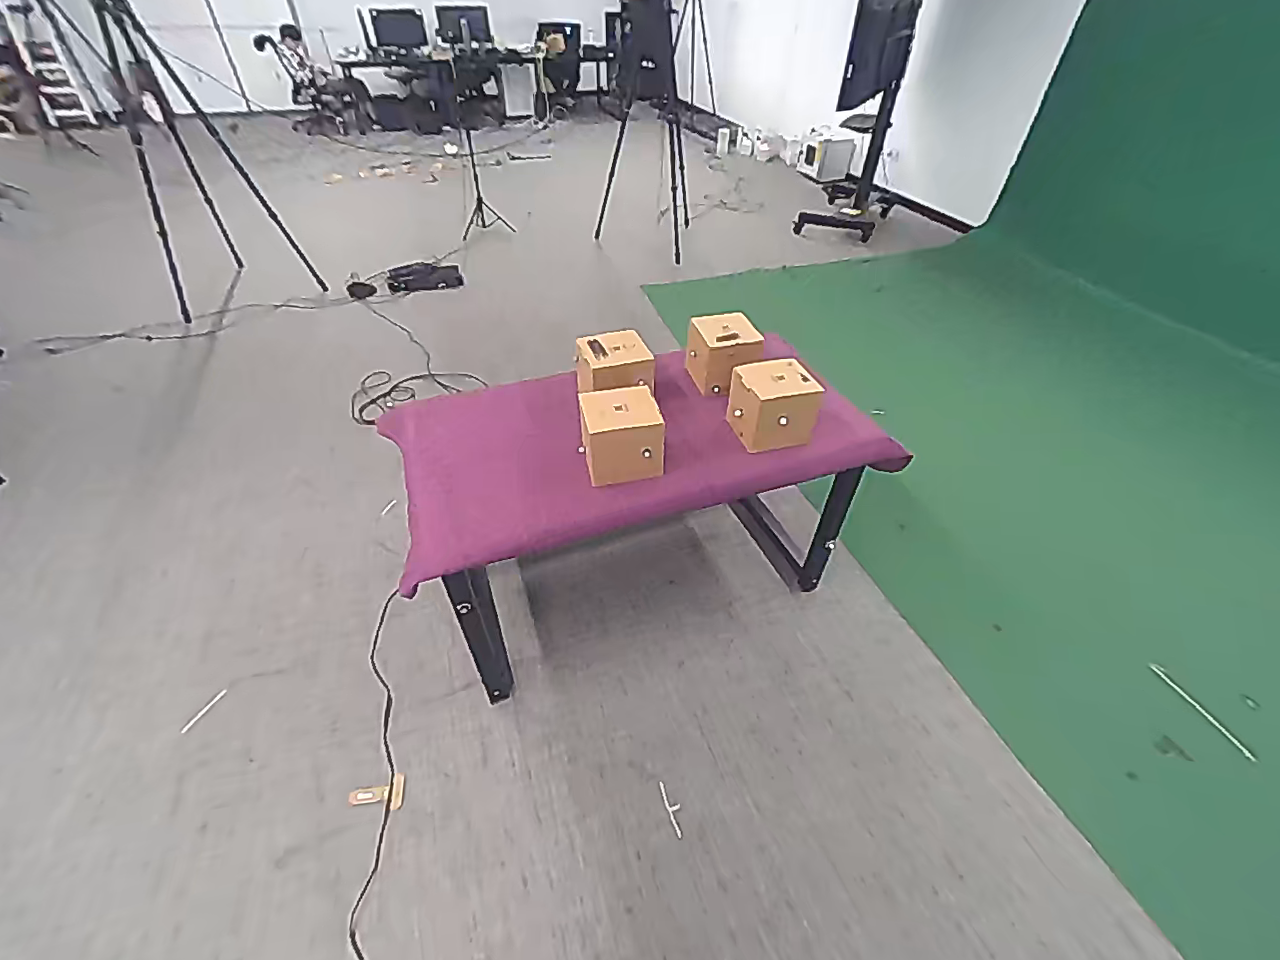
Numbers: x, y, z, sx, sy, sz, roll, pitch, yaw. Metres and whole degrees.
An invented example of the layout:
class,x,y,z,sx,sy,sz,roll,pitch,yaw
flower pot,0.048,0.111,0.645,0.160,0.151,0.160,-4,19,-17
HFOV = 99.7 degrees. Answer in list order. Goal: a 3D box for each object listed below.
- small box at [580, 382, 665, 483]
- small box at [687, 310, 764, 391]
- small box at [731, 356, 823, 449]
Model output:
class,x,y,z,sx,sy,sz,roll,pitch,yaw
small box,-0.045,-0.113,1.308,0.179,0.176,0.168,-9,43,-9
small box,0.244,-0.374,1.586,0.168,0.176,0.179,-10,44,-11
small box,0.344,-0.198,1.405,0.179,0.176,0.168,-11,44,-11
